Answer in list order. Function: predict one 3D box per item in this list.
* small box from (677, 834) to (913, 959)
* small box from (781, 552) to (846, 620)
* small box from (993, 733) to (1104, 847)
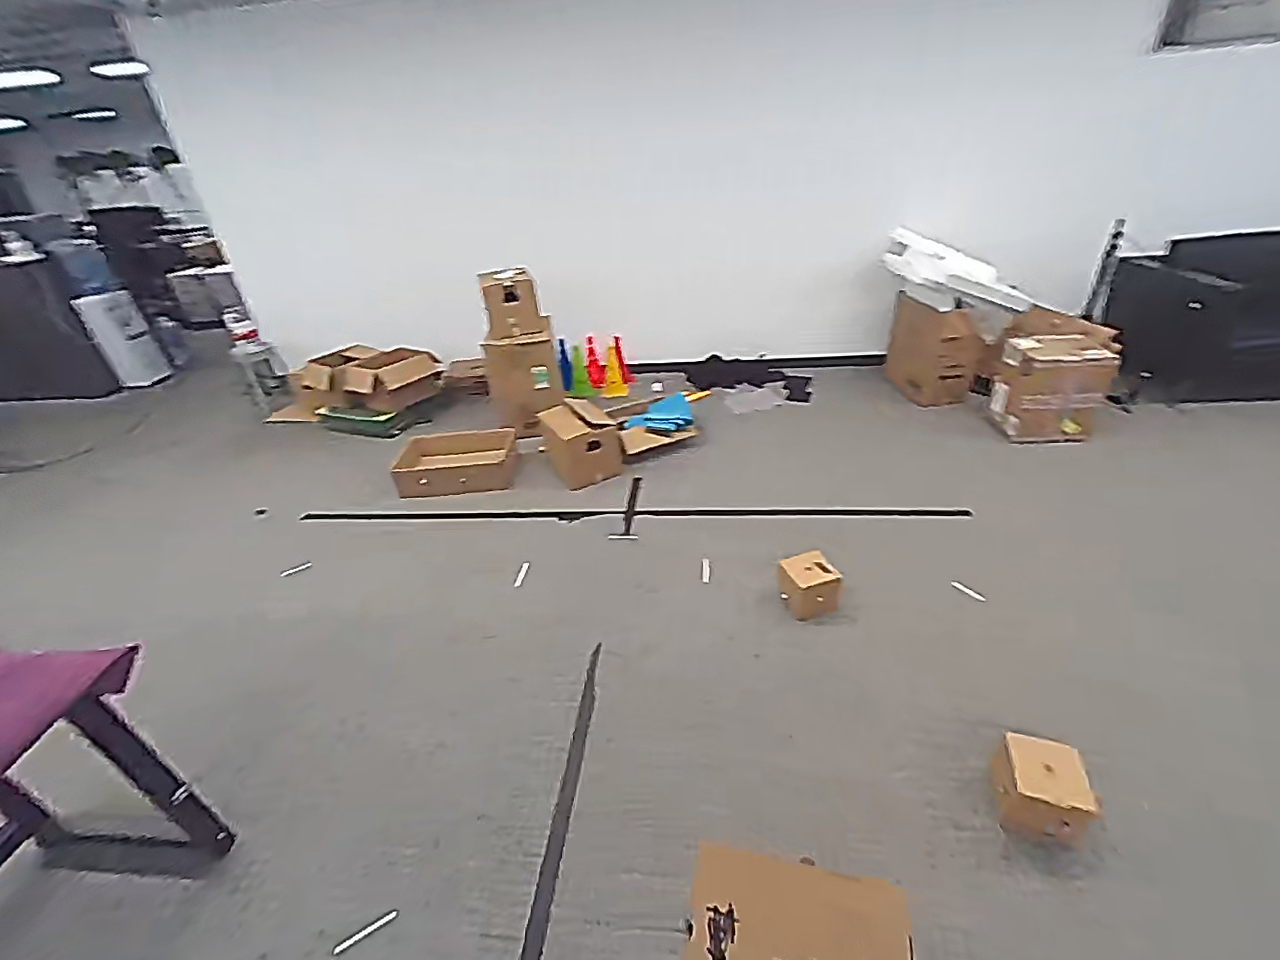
[{"bbox_3d":[0.124,0.435,0.477,0.179,0.176,0.168,8,52,9],"label":"small box"},{"bbox_3d":[0.657,0.406,2.071,0.179,0.176,0.168,-13,32,-11],"label":"small box"},{"bbox_3d":[1.039,0.799,1.392,0.168,0.176,0.179,8,33,17],"label":"small box"}]
